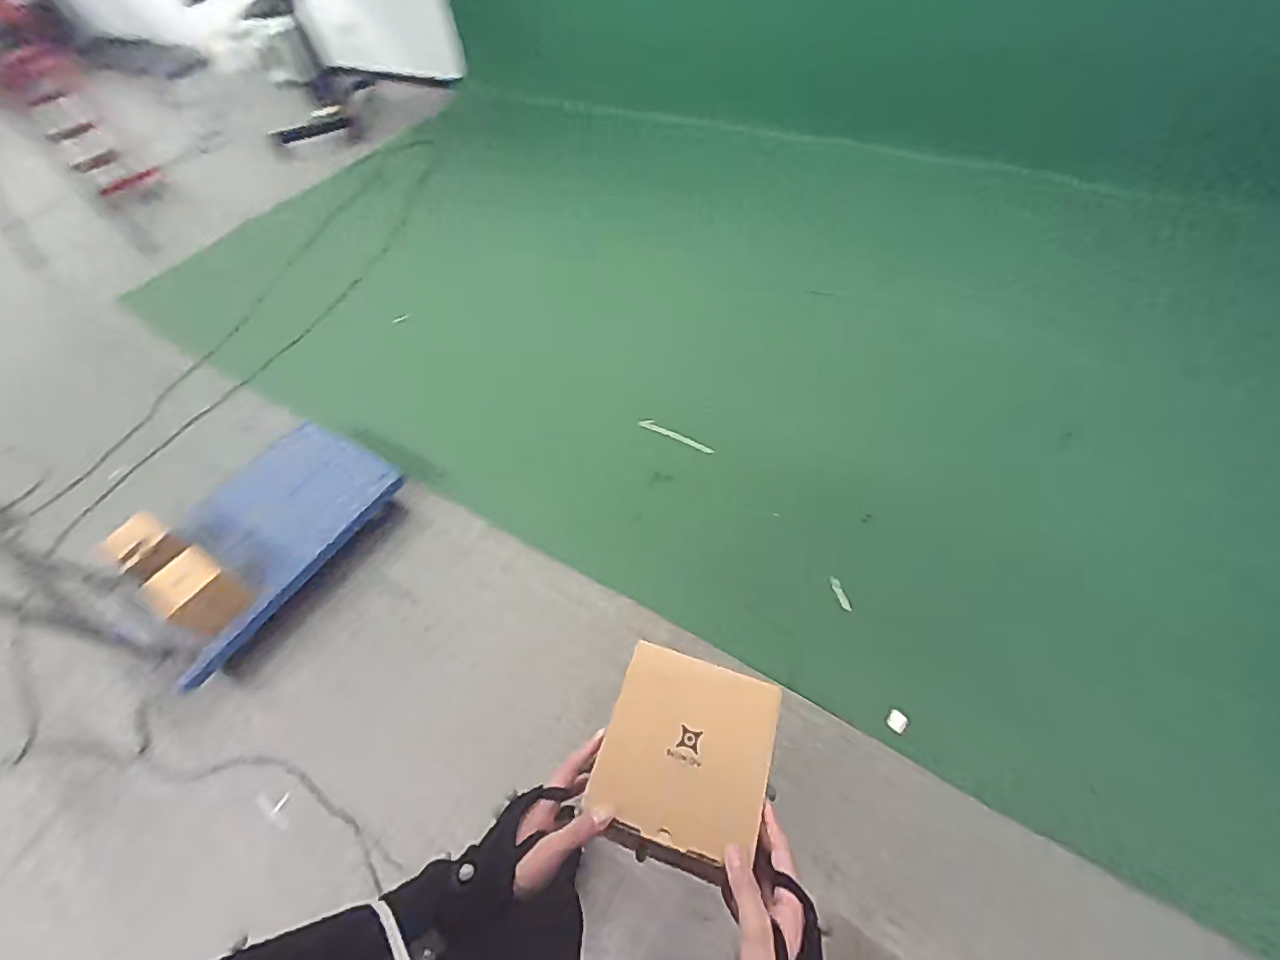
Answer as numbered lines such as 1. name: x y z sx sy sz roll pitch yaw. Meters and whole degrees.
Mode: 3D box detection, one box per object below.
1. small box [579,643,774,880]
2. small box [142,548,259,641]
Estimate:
1. small box: 0.038 0.316 0.606 0.168 0.176 0.179 15 53 8
2. small box: -1.279 0.341 1.584 0.168 0.176 0.179 28 62 24
